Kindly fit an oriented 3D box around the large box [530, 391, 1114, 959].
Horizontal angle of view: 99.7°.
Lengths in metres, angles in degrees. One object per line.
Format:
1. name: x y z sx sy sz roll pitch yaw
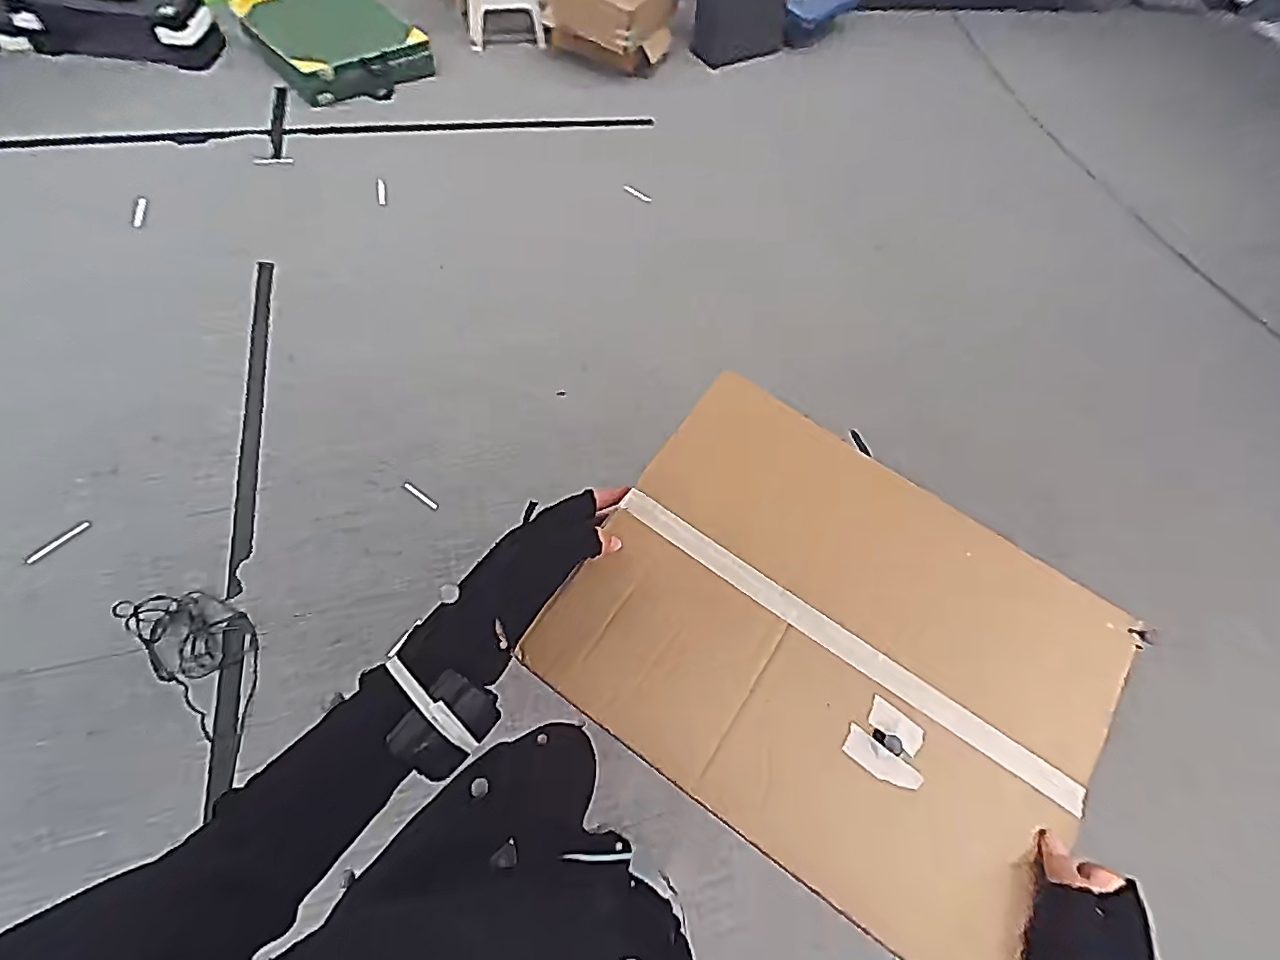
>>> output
1. large box: 0.149 0.182 0.584 0.408 0.320 0.320 34 73 9
